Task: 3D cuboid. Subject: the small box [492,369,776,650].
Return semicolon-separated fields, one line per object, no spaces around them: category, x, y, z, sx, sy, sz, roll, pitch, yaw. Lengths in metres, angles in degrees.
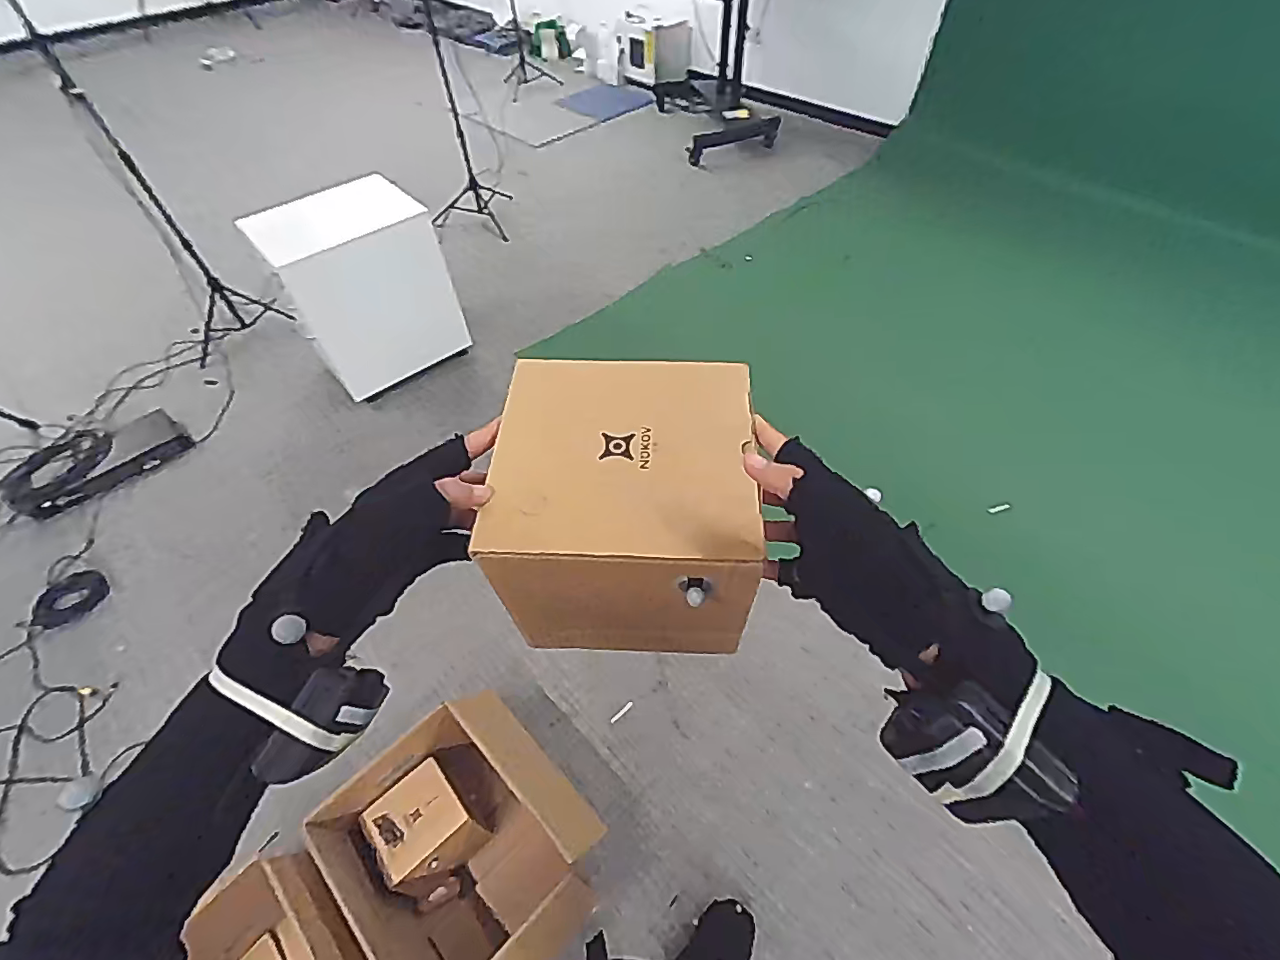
small box;0.002;0.029;0.435;0.179;0.176;0.168;1;54;2
